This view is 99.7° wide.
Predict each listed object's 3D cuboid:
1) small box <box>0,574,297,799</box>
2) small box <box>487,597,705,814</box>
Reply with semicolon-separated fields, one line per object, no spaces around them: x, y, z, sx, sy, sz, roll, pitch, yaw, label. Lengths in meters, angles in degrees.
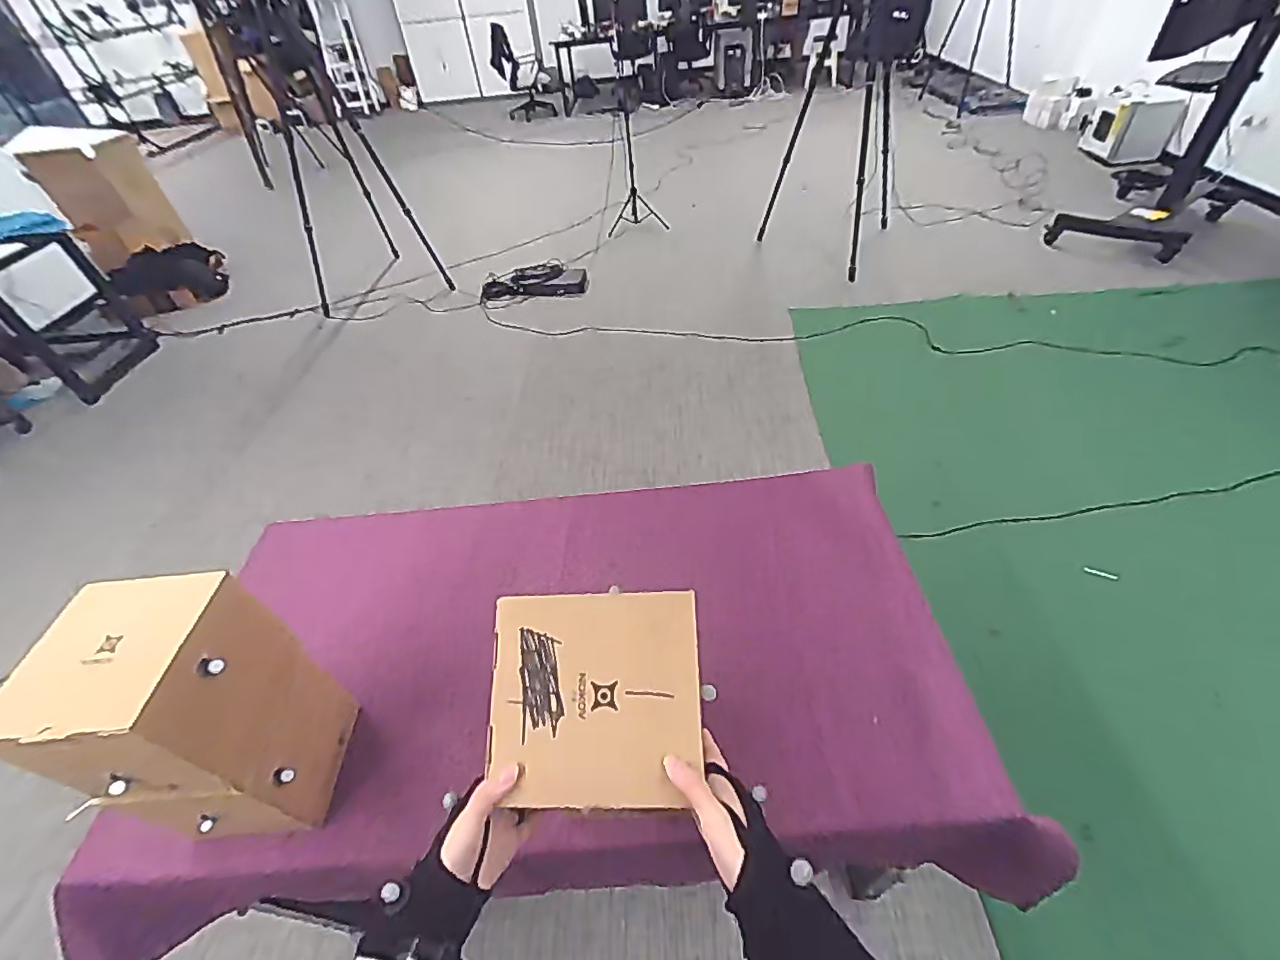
-0.522;0.227;0.597;0.168;0.176;0.179;-5;45;2;small box
-0.029;0.206;0.520;0.179;0.176;0.168;-2;72;4;small box
